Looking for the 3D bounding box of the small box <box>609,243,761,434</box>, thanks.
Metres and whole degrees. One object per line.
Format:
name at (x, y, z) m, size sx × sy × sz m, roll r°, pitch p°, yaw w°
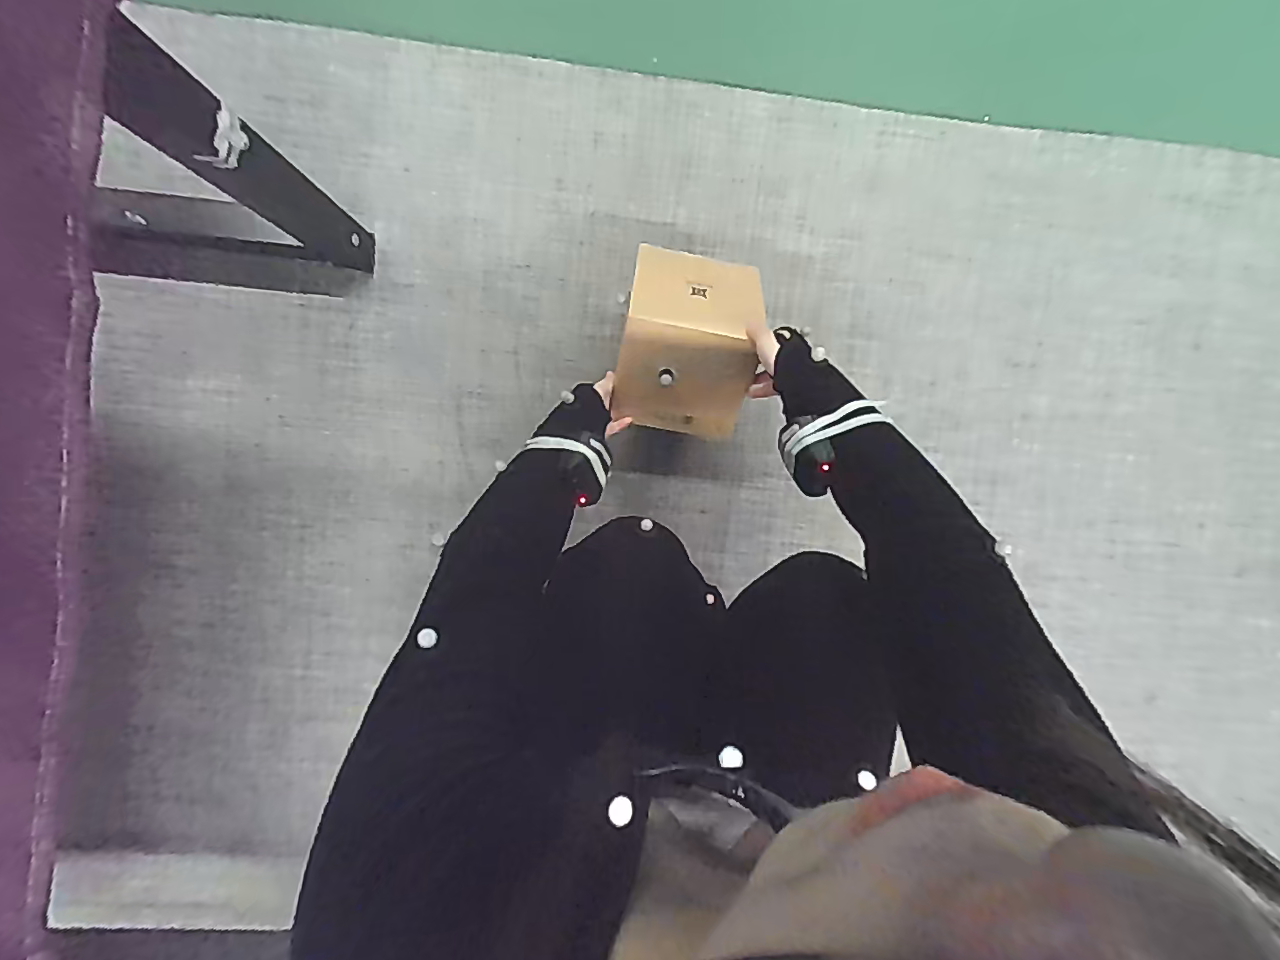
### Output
small box at (0.053, -0.185, 0.727) m, size 0.168 × 0.176 × 0.179 m, roll 9°, pitch 49°, yaw -5°
